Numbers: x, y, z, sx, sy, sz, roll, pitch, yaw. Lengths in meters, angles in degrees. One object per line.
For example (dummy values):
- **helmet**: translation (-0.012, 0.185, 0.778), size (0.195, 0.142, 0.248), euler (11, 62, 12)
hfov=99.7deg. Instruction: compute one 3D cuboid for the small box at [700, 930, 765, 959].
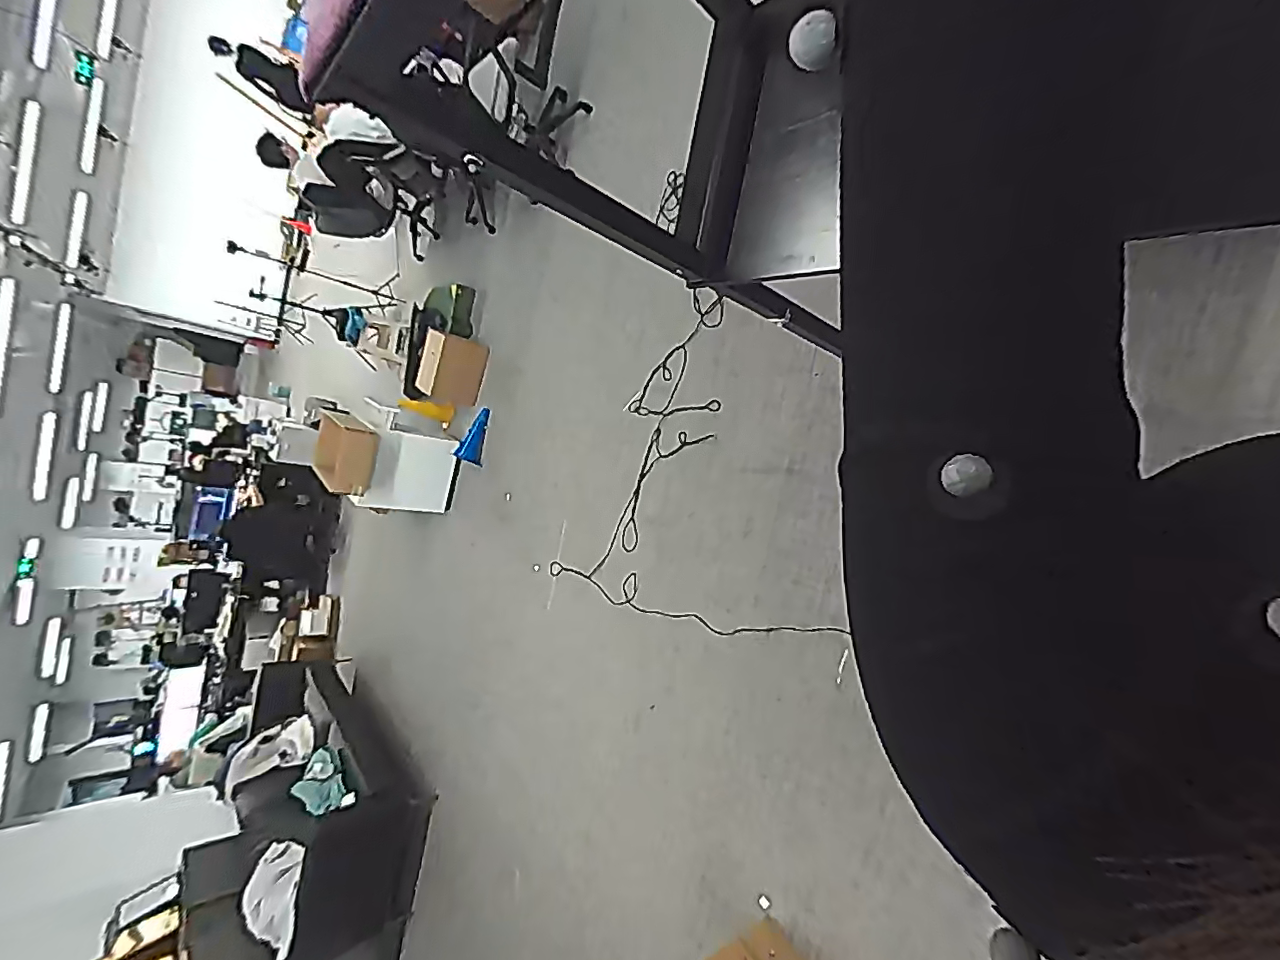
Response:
- **small box**: translation (0.253, 1.399, 1.475), size (0.168, 0.176, 0.179), euler (28, 104, 47)
